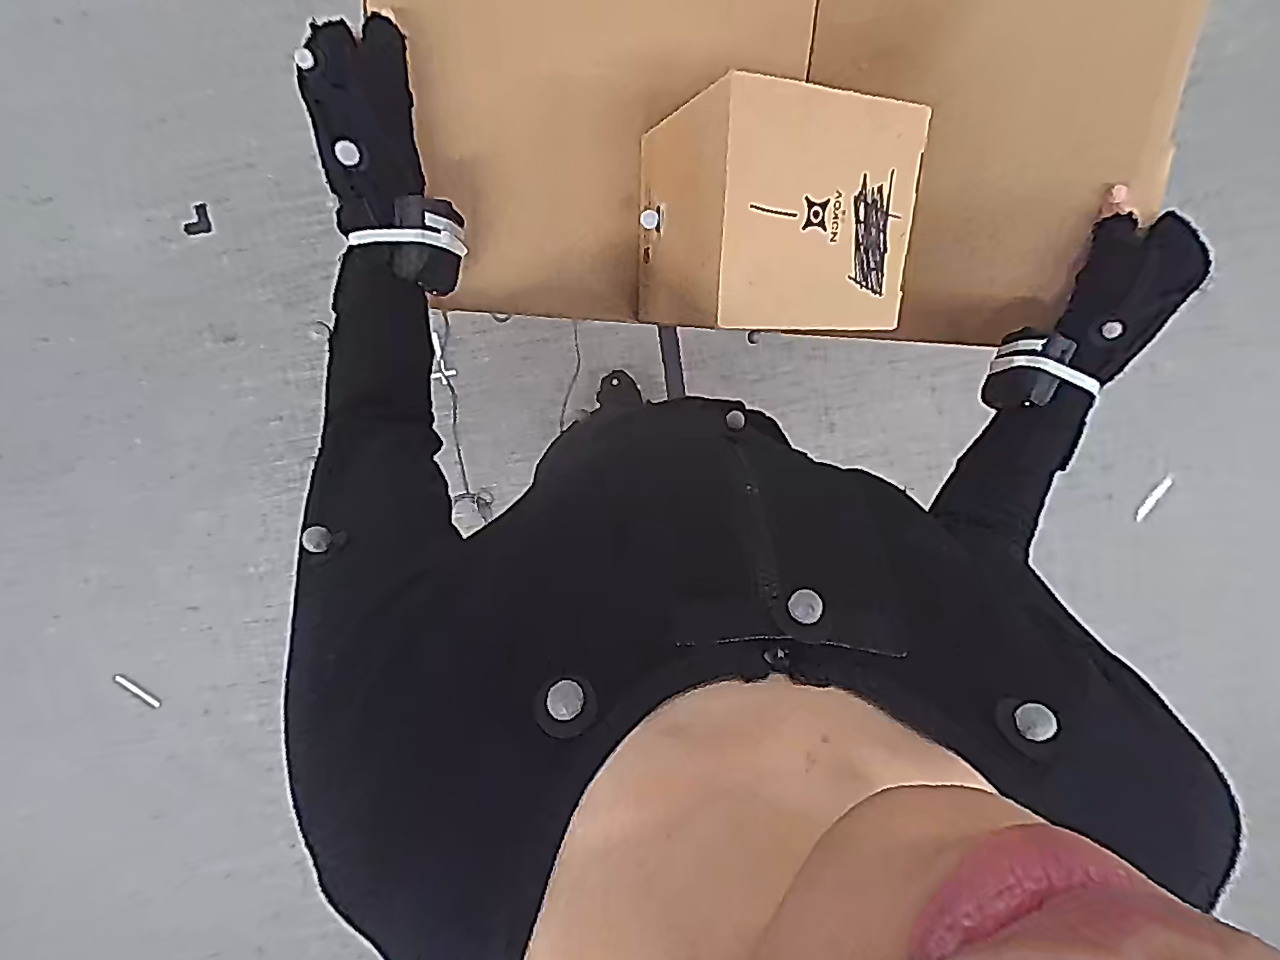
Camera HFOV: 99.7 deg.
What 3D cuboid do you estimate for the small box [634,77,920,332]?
[{"bbox_3d":[0.106,-0.222,0.482,0.179,0.176,0.168,-6,108,-19],"label":"small box"}]
